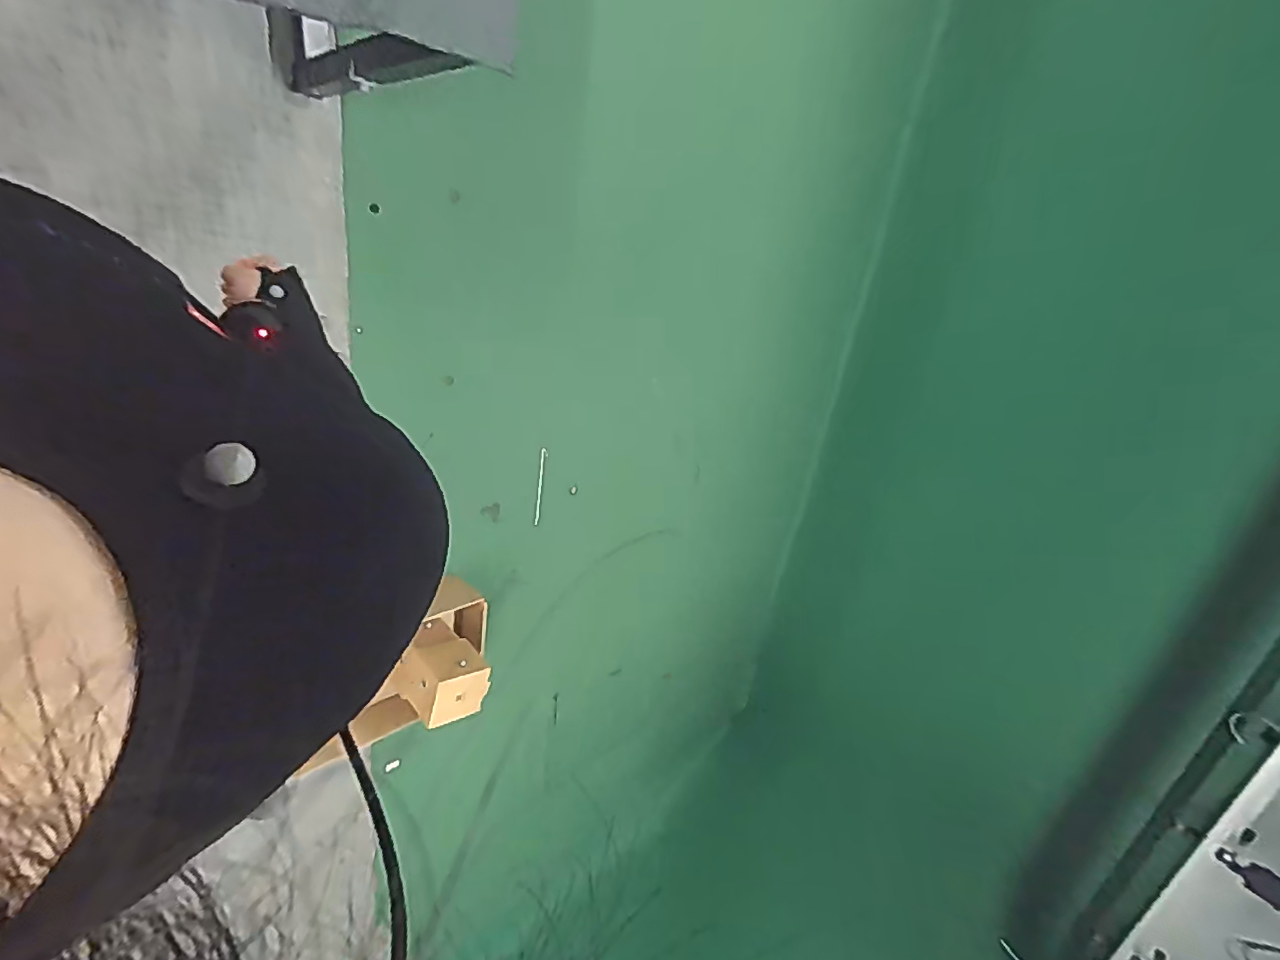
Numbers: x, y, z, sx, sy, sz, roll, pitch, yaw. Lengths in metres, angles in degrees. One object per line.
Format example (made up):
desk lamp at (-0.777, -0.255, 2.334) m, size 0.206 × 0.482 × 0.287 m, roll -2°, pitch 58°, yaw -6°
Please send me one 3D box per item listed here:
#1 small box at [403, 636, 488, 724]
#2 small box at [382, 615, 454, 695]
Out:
small box at (-0.602, 0.607, 1.663) m, size 0.179 × 0.176 × 0.168 m, roll 1°, pitch 112°, yaw -50°
small box at (-0.719, 0.567, 1.771) m, size 0.168 × 0.176 × 0.179 m, roll 8°, pitch 105°, yaw -51°
